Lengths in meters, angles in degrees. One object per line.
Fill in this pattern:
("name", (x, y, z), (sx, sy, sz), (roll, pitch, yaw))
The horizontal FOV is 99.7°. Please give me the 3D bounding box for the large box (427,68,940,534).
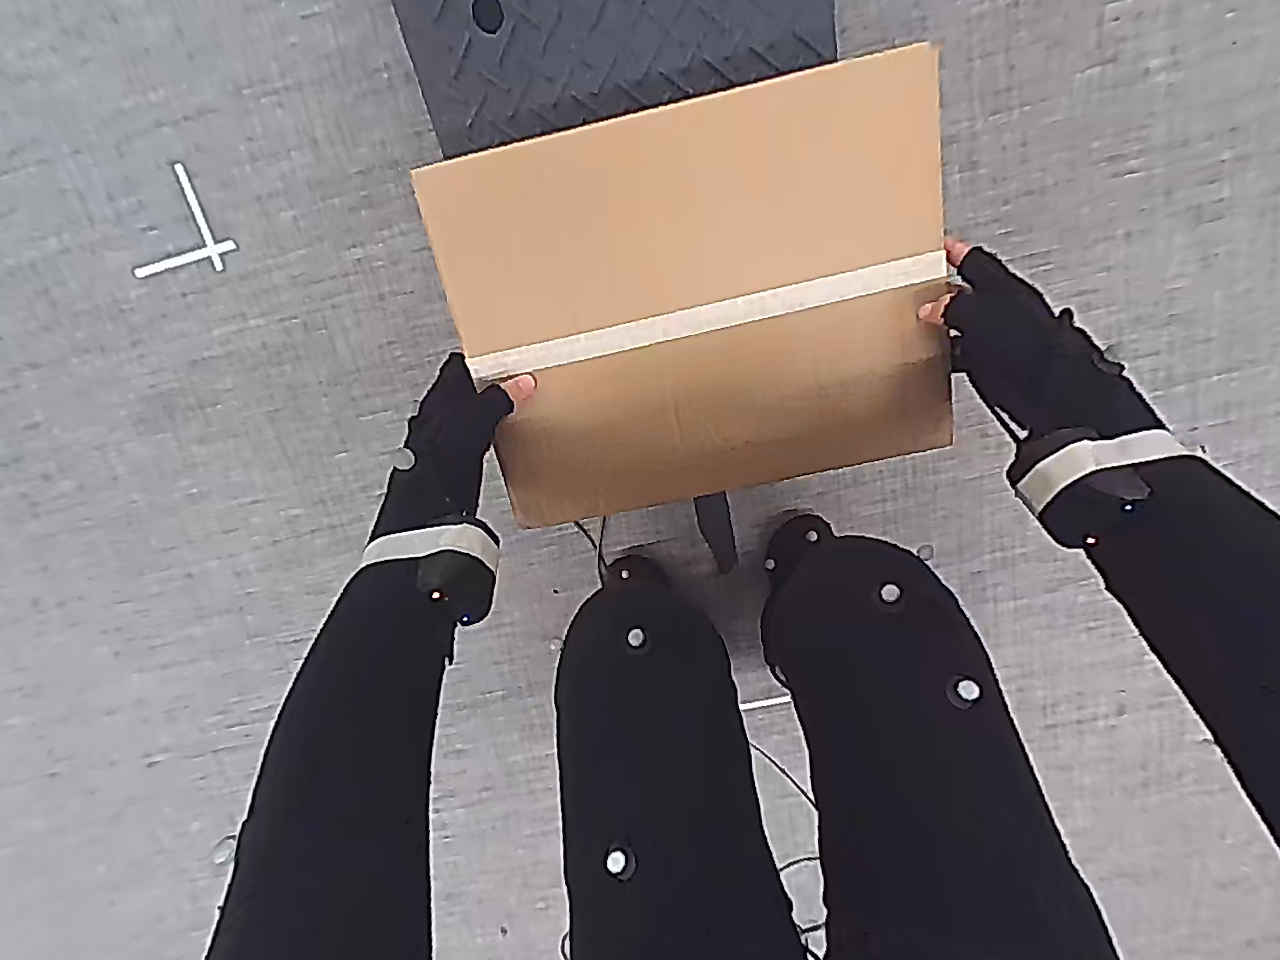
("large box", (0.053, -0.177, 0.609), (0.408, 0.320, 0.320), (-12, 106, 4))
